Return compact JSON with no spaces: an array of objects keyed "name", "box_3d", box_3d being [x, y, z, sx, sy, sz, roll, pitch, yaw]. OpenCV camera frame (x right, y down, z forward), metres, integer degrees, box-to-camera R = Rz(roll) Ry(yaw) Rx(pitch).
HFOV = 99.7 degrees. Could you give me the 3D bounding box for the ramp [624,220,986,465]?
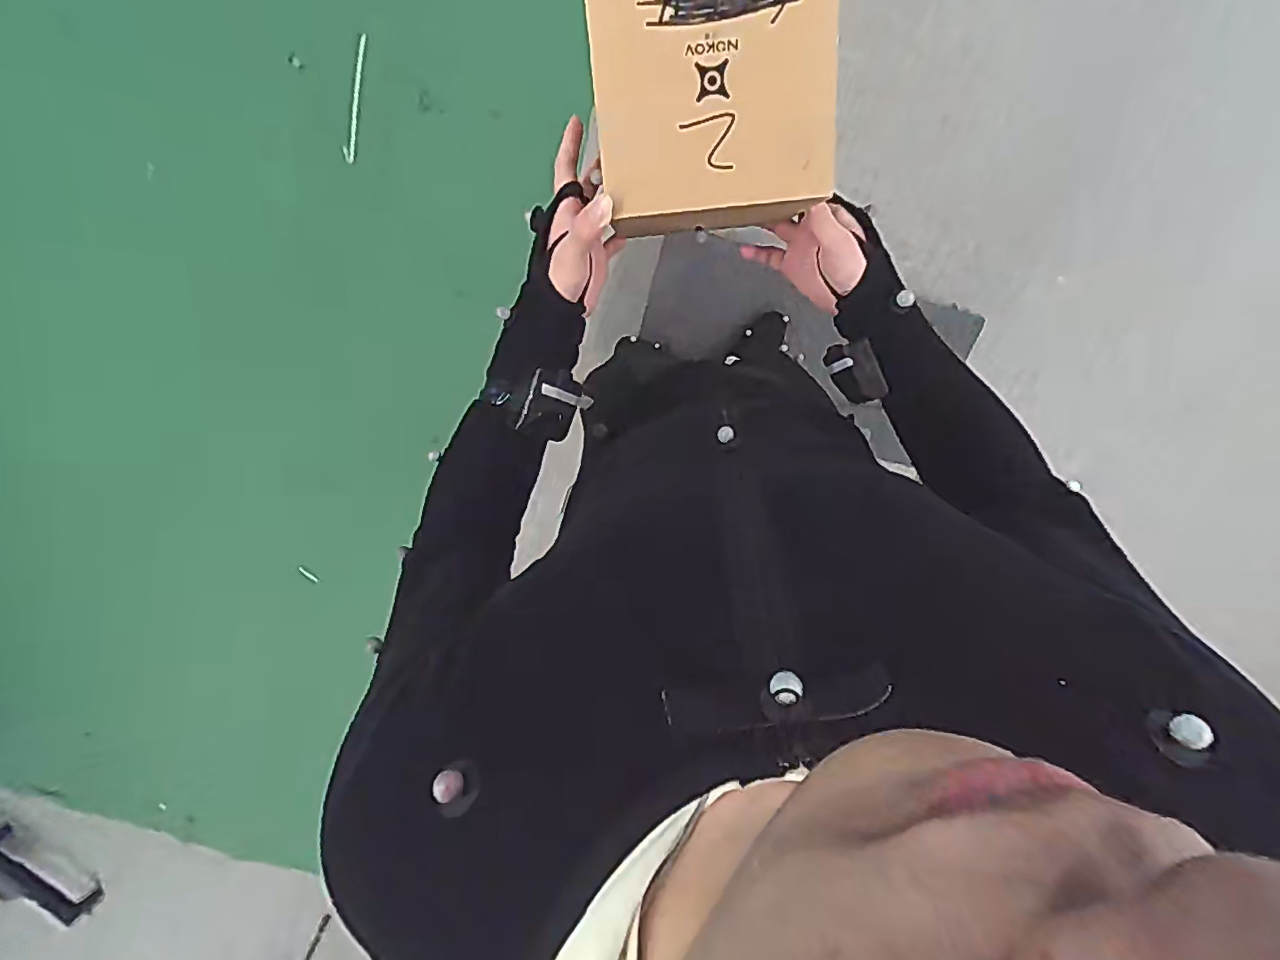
[{"name":"ramp","box_3d":[0.487,-0.363,1.577,0.991,0.206,0.509,14,109,-1]}]
